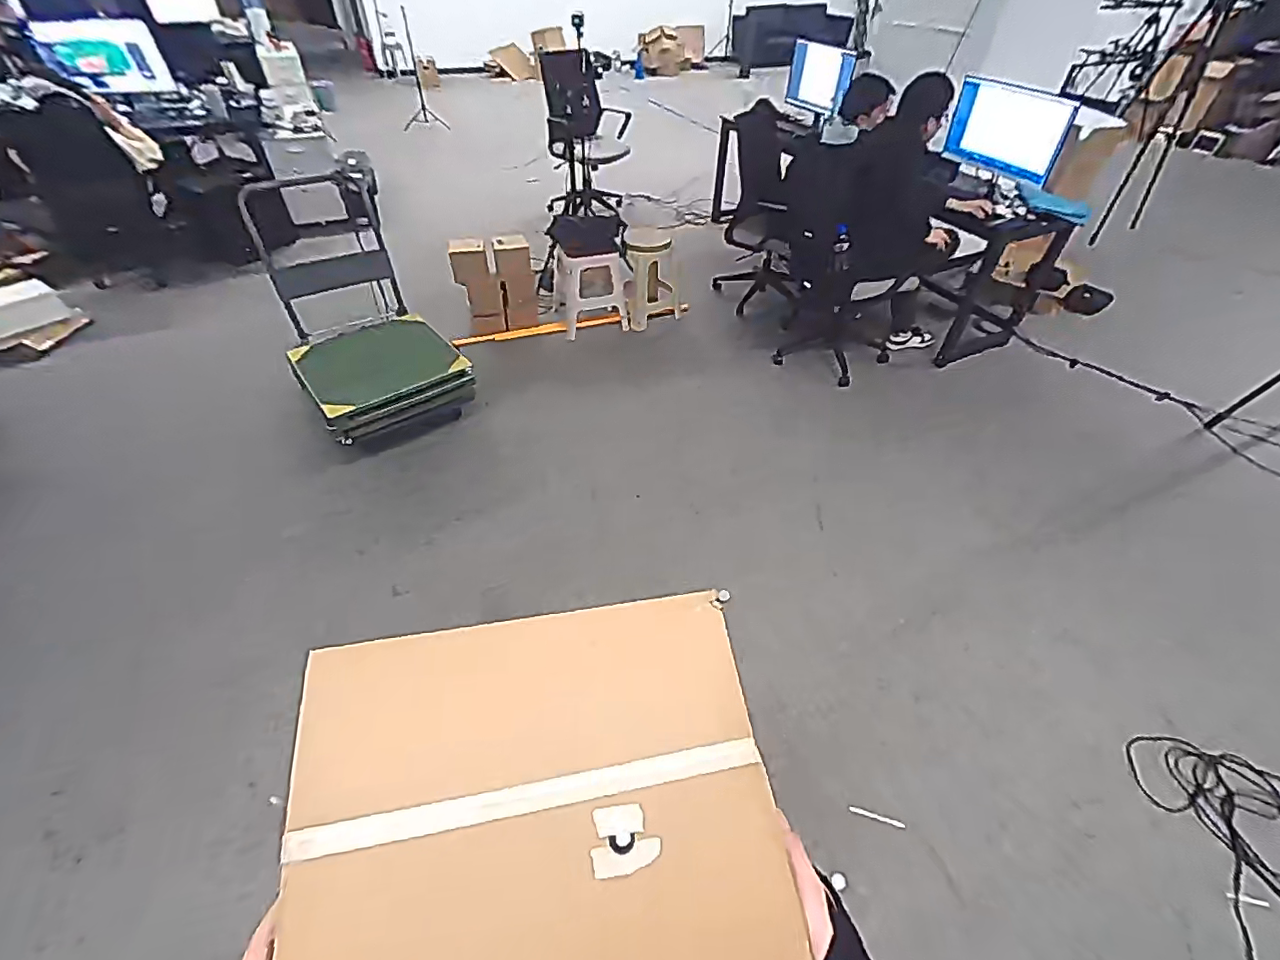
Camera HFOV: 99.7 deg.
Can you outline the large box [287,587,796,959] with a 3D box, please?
[{"bbox_3d":[-0.105,0.347,0.611,0.408,0.320,0.320,-6,61,-10],"label":"large box"}]
